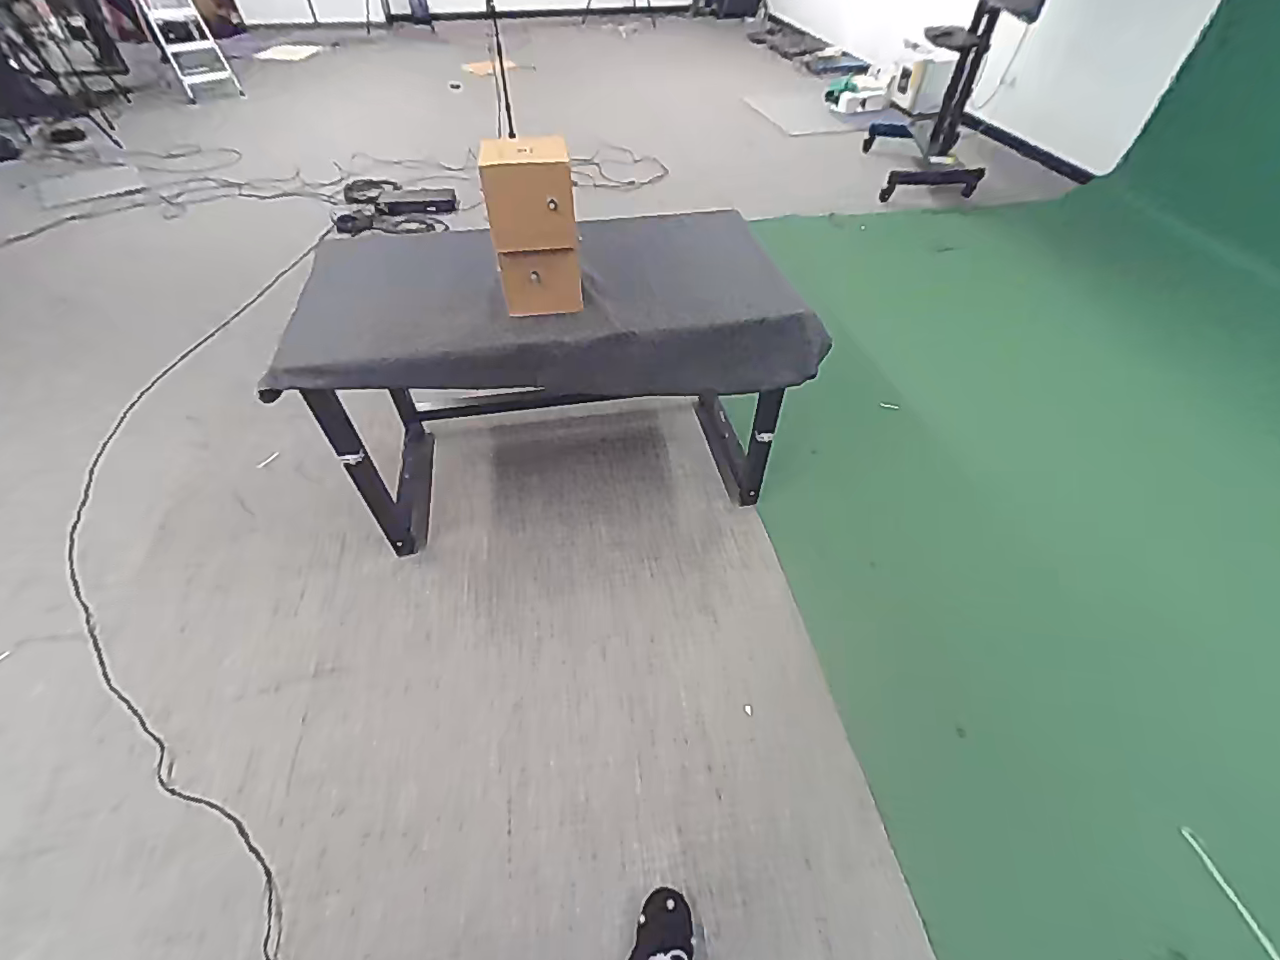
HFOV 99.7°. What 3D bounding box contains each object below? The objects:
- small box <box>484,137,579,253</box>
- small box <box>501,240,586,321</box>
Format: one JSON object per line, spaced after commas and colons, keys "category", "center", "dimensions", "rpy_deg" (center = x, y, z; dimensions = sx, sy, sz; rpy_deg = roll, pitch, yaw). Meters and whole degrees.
{"category": "small box", "center": [-0.222, -0.592, 1.127], "dimensions": [0.179, 0.176, 0.168], "rpy_deg": [-9, 48, -9]}
{"category": "small box", "center": [-0.228, -0.491, 1.279], "dimensions": [0.179, 0.176, 0.168], "rpy_deg": [-8, 47, -9]}
